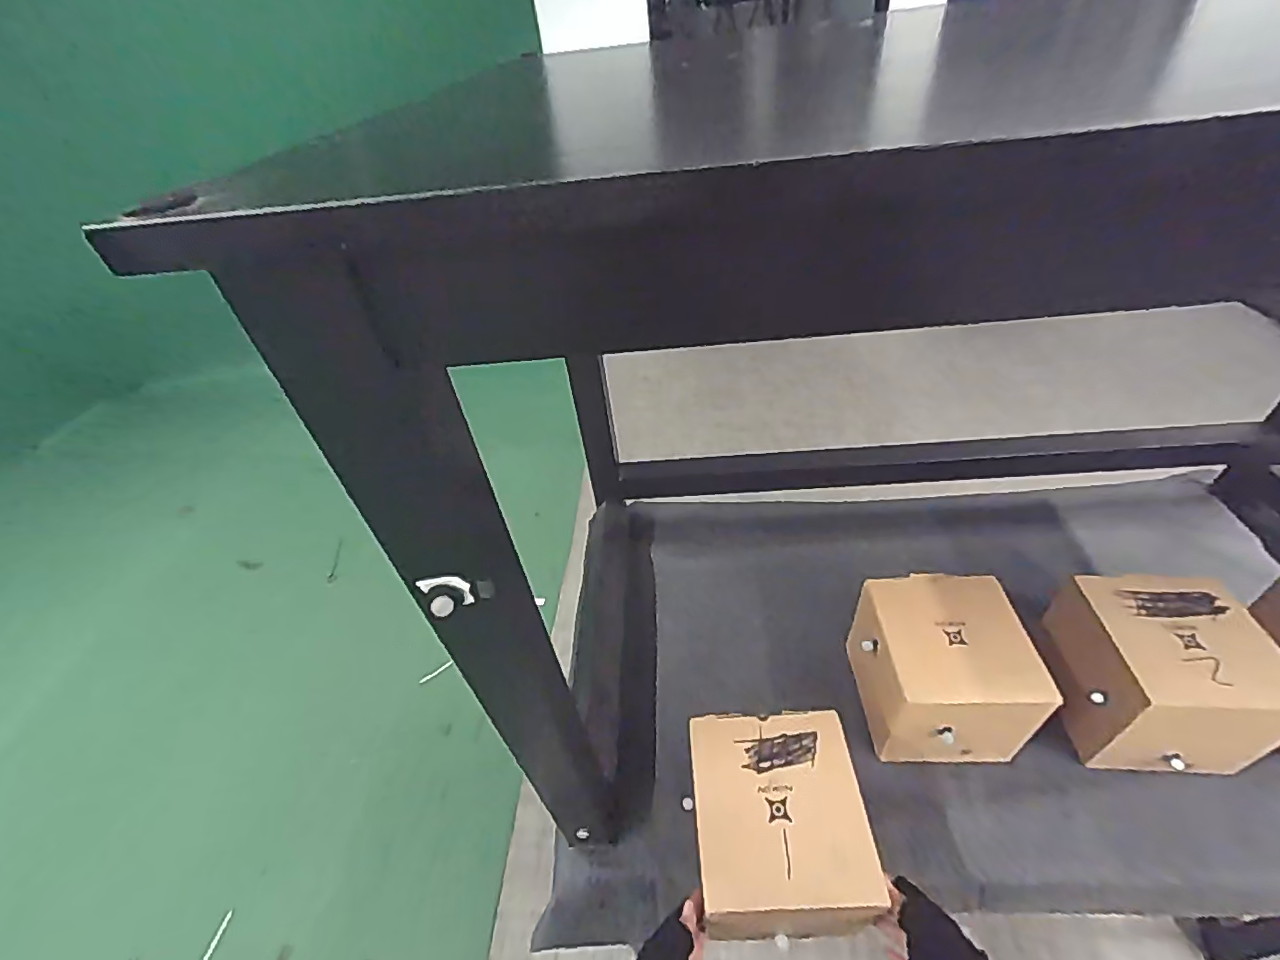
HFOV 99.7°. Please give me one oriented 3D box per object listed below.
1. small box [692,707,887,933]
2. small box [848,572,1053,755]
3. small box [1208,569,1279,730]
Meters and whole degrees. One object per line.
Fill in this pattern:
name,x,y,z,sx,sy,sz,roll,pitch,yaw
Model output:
small box,0.145,0.375,0.599,0.168,0.176,0.179,-5,43,3
small box,0.387,0.244,0.713,0.168,0.176,0.179,-3,41,6
small box,0.876,0.224,0.652,0.168,0.176,0.179,-3,40,5
